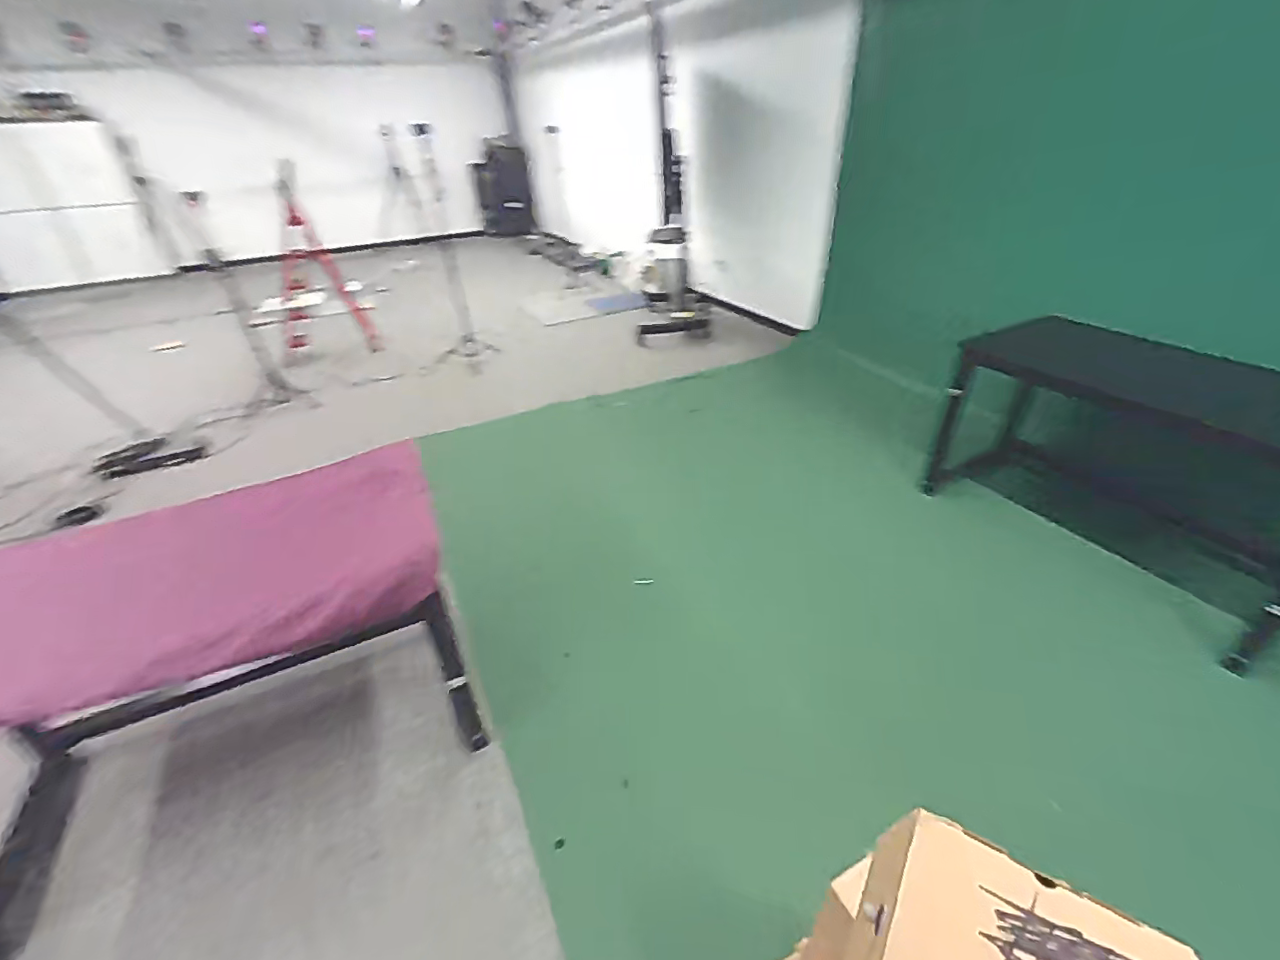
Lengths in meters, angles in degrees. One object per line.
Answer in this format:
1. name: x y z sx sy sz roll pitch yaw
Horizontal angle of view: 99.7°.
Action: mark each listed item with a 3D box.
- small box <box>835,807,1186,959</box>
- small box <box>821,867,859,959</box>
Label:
1. small box: 0.234 0.373 0.380 0.168 0.176 0.179 18 56 25
2. small box: 0.379 0.644 0.758 0.179 0.176 0.168 -16 36 -19
